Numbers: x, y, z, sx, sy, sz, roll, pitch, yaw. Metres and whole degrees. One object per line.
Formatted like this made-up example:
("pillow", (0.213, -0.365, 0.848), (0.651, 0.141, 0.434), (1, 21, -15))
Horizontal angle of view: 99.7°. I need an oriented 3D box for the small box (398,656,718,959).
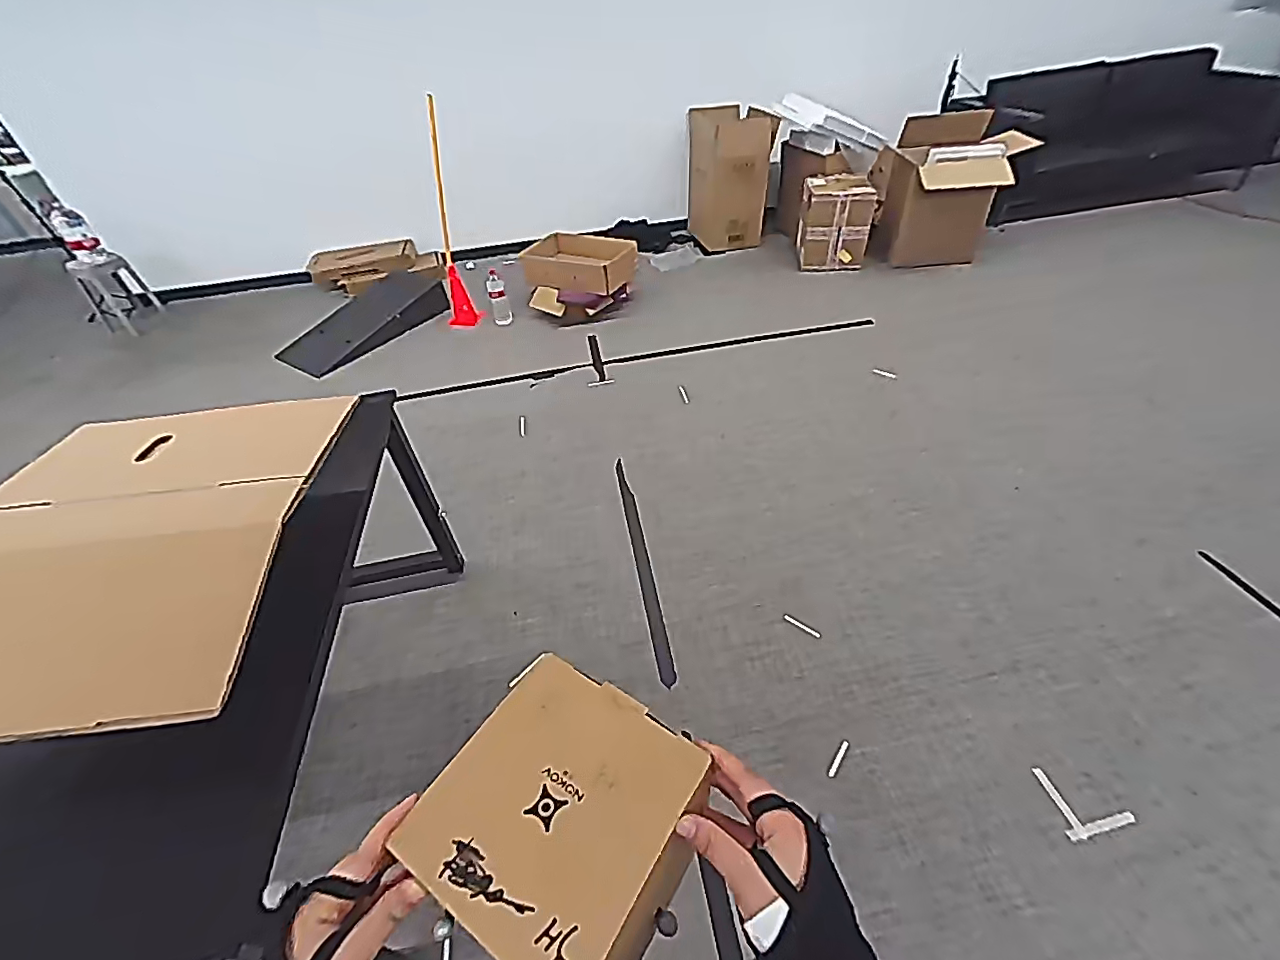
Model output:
("small box", (-0.052, 0.289, 0.439), (0.168, 0.176, 0.179), (21, 45, 28))
